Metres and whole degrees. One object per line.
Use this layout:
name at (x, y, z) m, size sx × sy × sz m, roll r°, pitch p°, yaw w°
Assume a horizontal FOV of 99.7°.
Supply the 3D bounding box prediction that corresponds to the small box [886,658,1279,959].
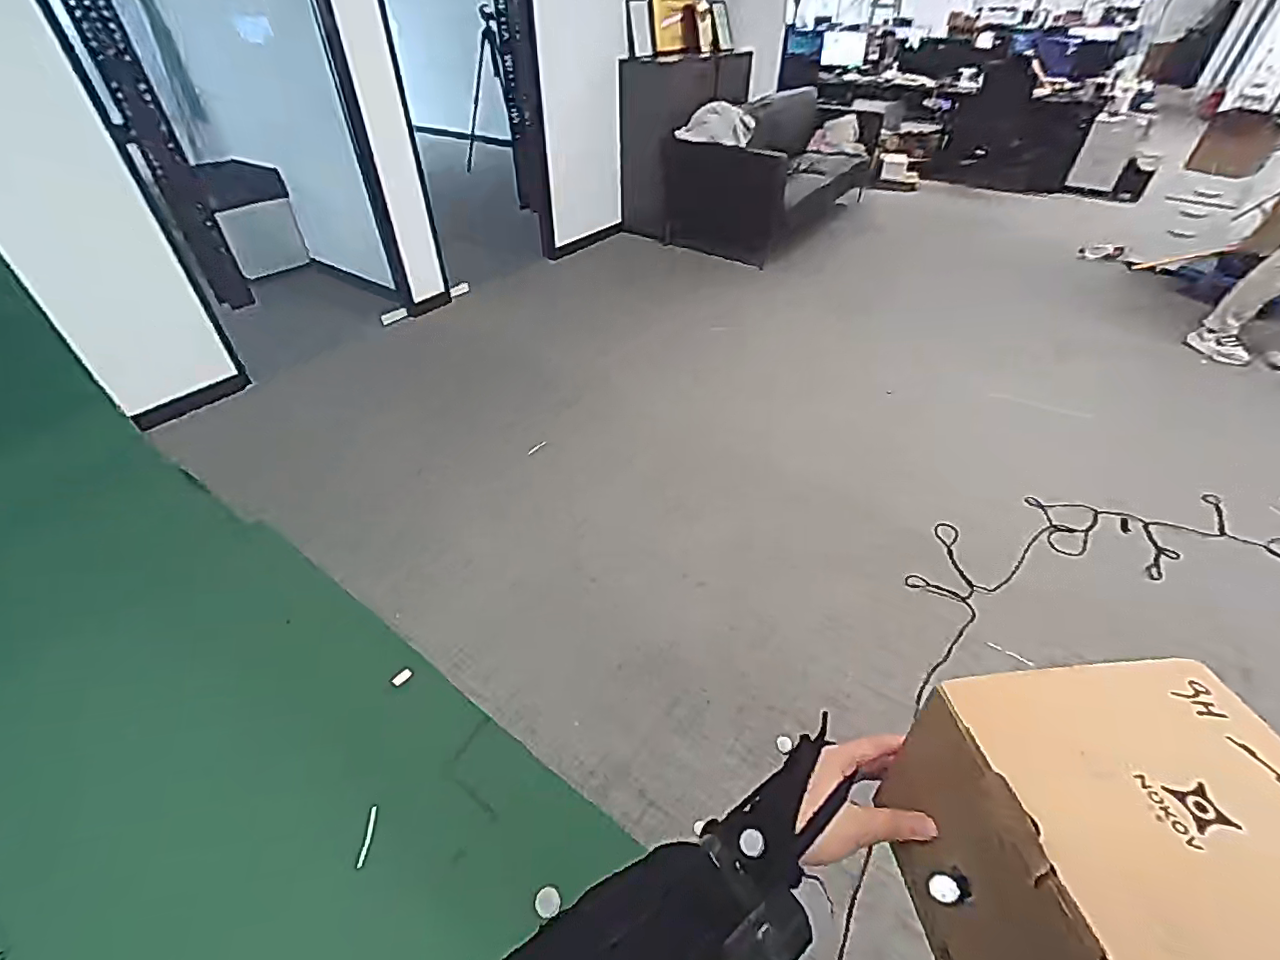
small box at (0.274, 0.235, 0.331) m, size 0.179 × 0.176 × 0.168 m, roll -4°, pitch 37°, yaw -3°
